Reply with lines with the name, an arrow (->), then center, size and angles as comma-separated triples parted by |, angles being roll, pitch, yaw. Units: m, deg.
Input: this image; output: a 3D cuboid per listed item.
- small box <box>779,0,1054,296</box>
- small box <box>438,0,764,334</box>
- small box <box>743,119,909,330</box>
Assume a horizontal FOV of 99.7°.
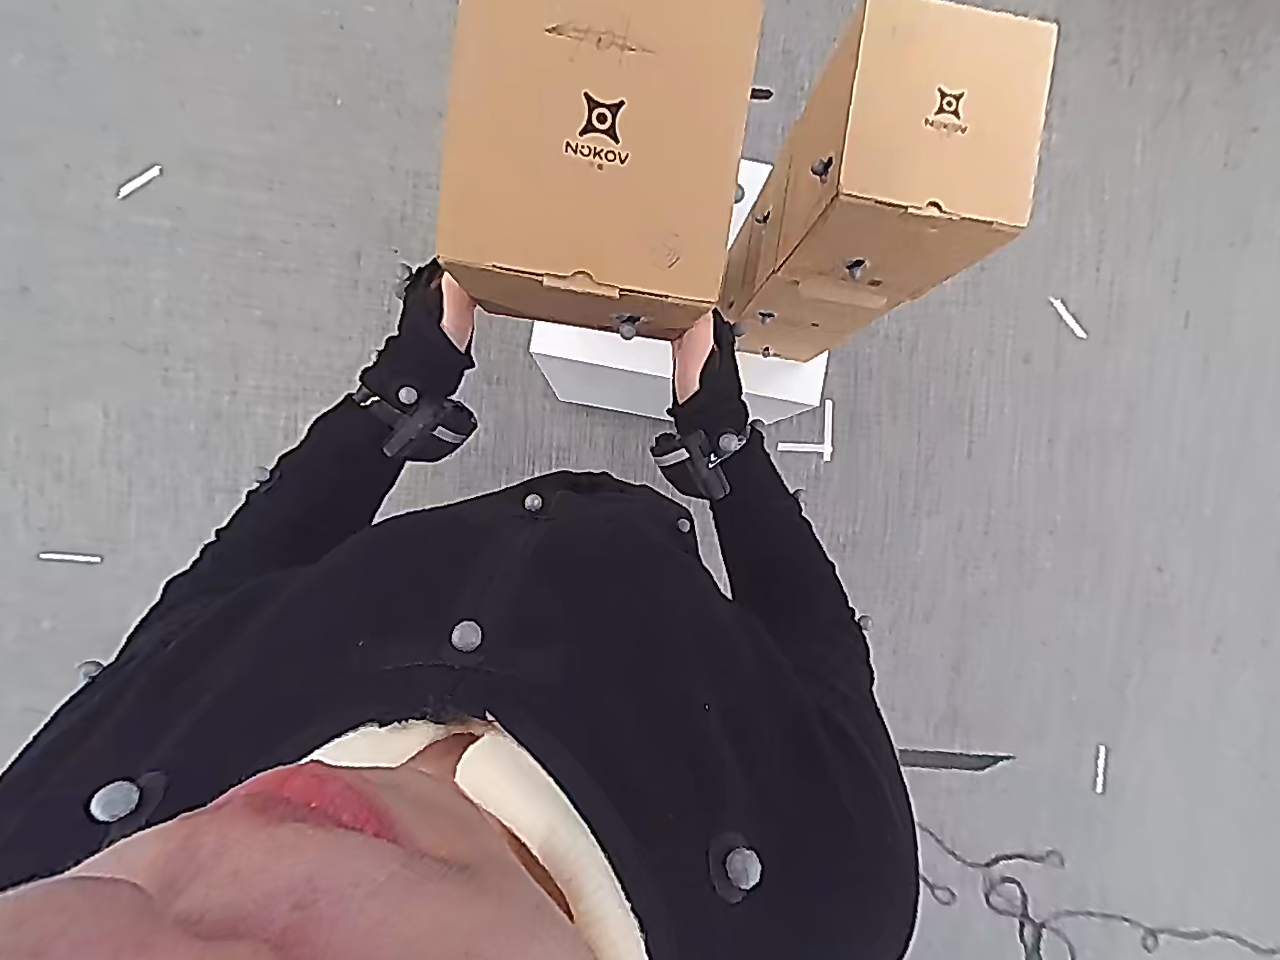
small box -> 0.246, -0.302, 0.522 | 0.168, 0.176, 0.179 | 9, 90, -3
small box -> -0.030, -0.208, 0.381 | 0.168, 0.176, 0.179 | 7, 97, -8
small box -> 0.236, -0.304, 0.684 | 0.168, 0.176, 0.179 | 9, 89, -3
